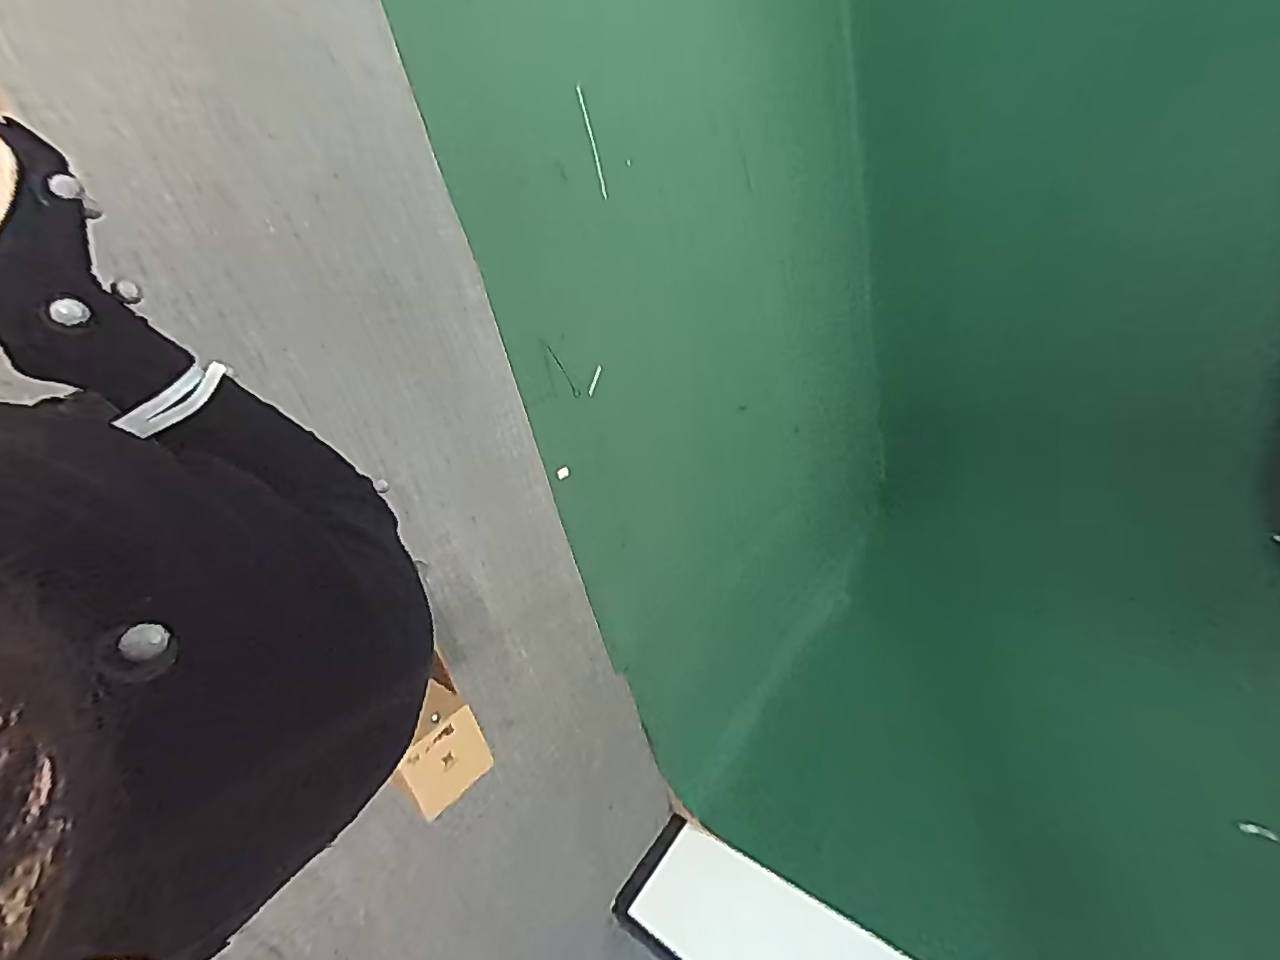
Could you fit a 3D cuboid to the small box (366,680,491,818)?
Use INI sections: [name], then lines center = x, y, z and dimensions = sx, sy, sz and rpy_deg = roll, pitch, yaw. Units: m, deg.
[small box]
center = -0.458, 0.570, 1.171
dimensions = 0.168, 0.176, 0.179
rpy_deg = -32, 117, -41
